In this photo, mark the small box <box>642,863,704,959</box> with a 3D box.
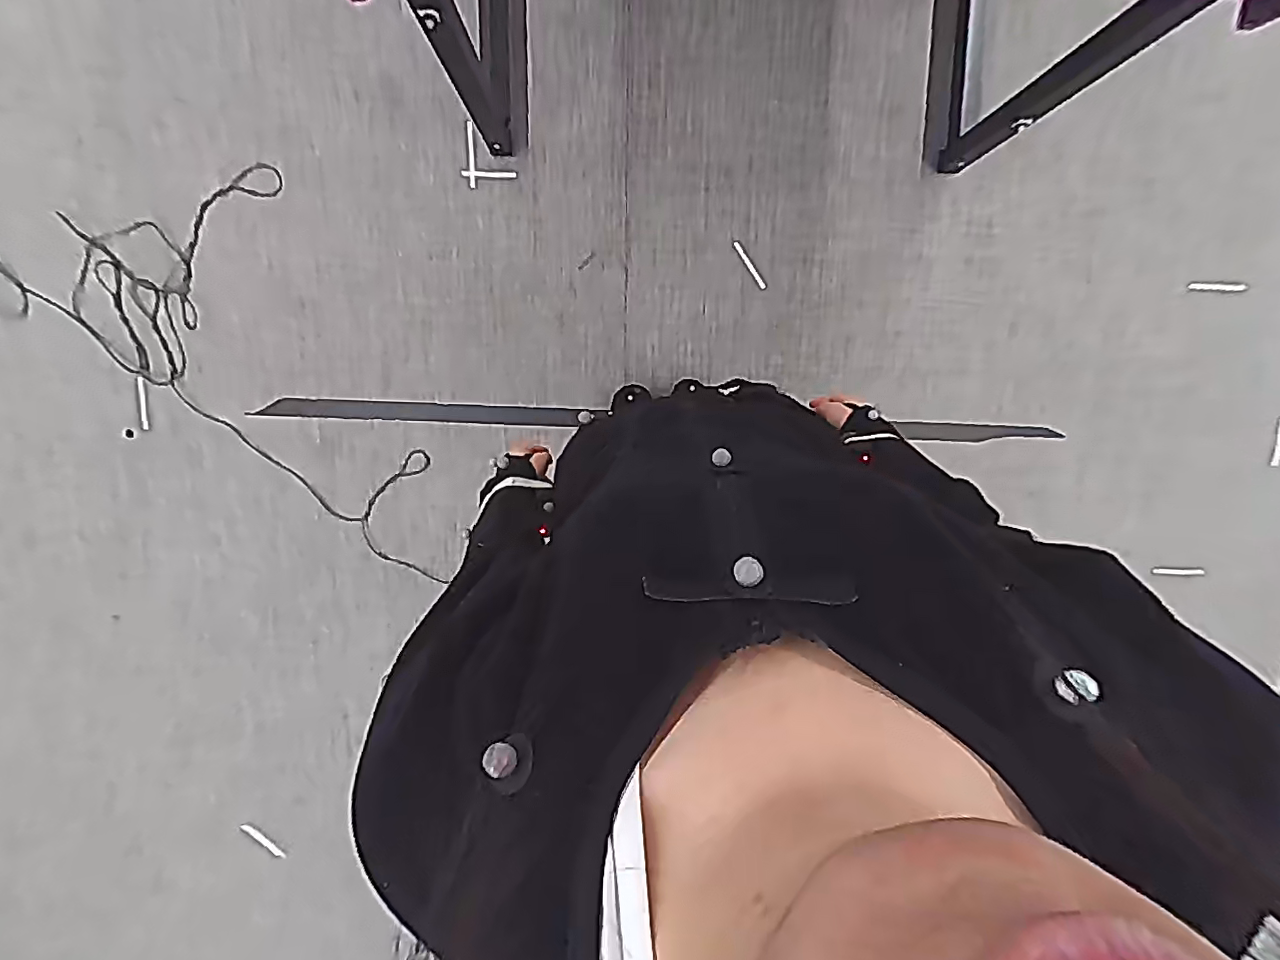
[{"bbox_3d":[0.094,1.290,1.618,0.168,0.176,0.179,3,100,-1],"label":"small box"}]
